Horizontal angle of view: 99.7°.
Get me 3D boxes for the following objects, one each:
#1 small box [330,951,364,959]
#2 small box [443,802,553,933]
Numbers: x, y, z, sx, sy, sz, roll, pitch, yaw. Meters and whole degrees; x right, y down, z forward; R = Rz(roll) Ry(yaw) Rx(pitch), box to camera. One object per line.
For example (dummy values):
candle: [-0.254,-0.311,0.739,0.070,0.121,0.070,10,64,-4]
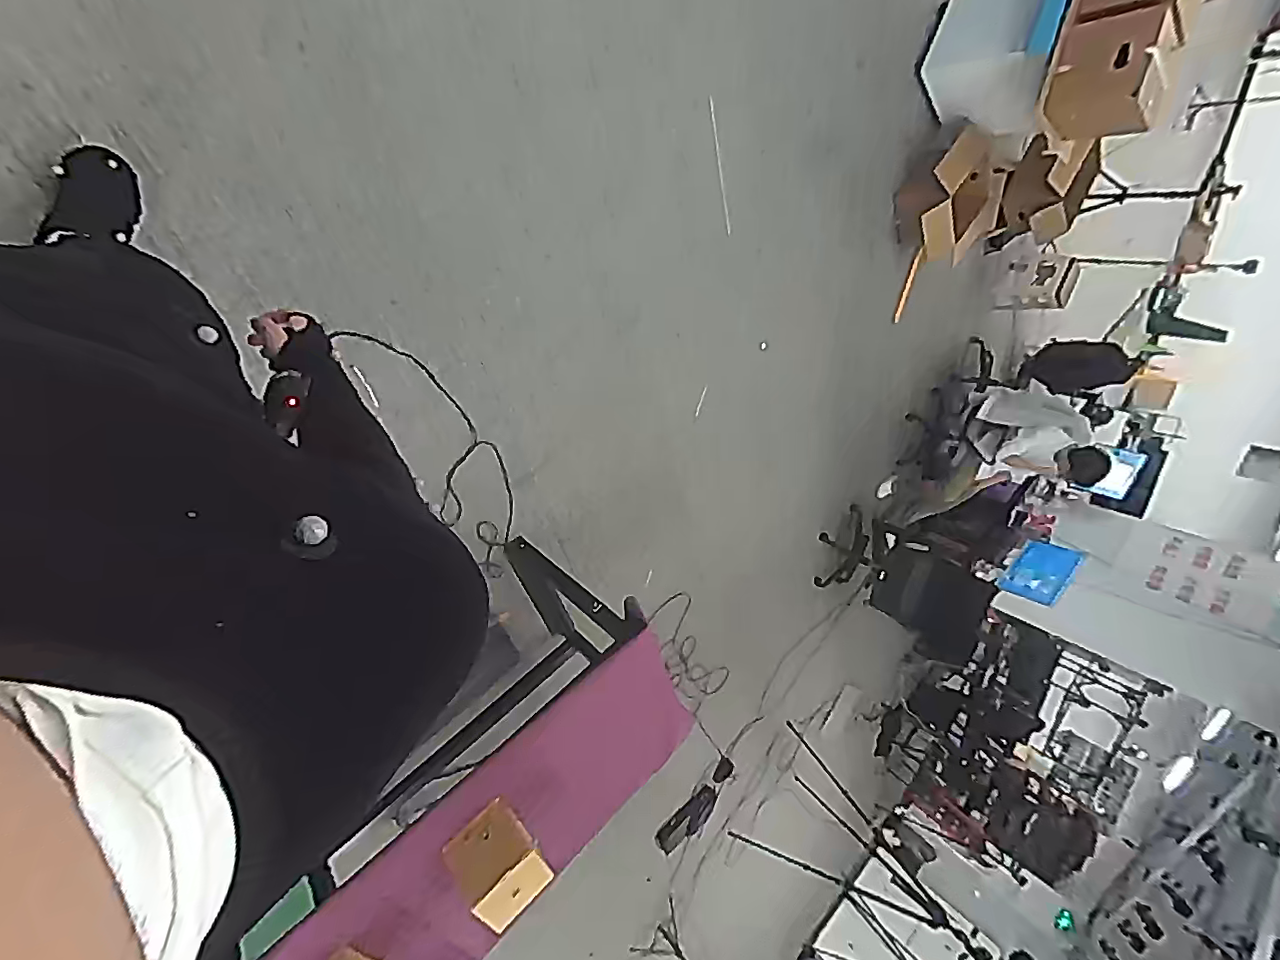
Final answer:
small box: [-0.633,1.148,1.132,0.168,0.176,0.179,-36,131,-28]
small box: [-0.343,0.926,1.306,0.168,0.176,0.179,-35,130,-26]
